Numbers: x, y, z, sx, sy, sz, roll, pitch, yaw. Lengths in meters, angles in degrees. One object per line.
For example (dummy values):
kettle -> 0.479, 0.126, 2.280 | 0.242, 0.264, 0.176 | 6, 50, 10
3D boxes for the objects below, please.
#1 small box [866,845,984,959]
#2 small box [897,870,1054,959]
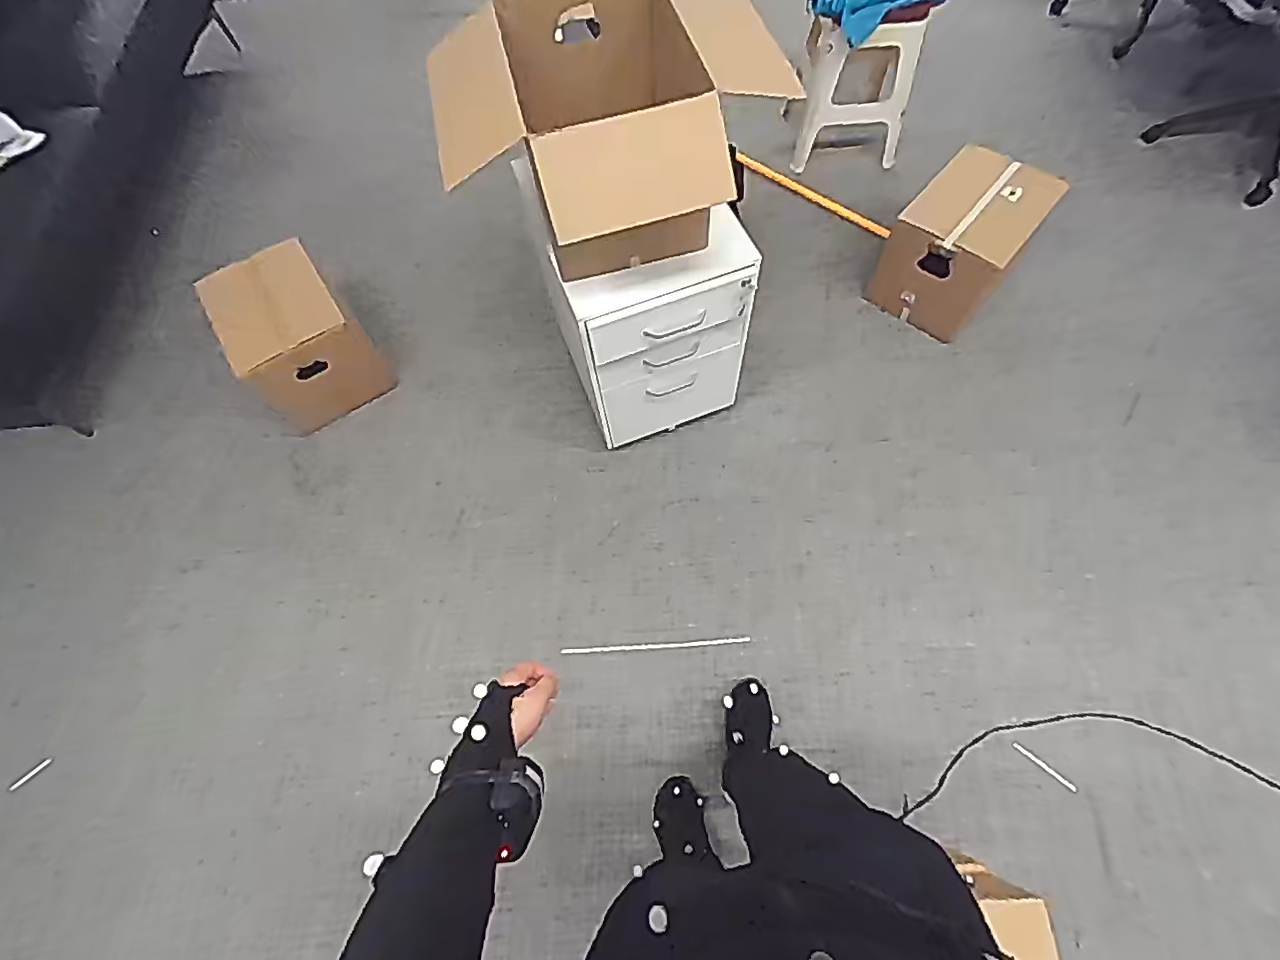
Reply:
small box -> 0.562, 0.832, 1.062 | 0.179, 0.176, 0.168 | -2, 66, 2
small box -> 0.554, 0.775, 0.908 | 0.179, 0.176, 0.168 | -1, 66, 1
